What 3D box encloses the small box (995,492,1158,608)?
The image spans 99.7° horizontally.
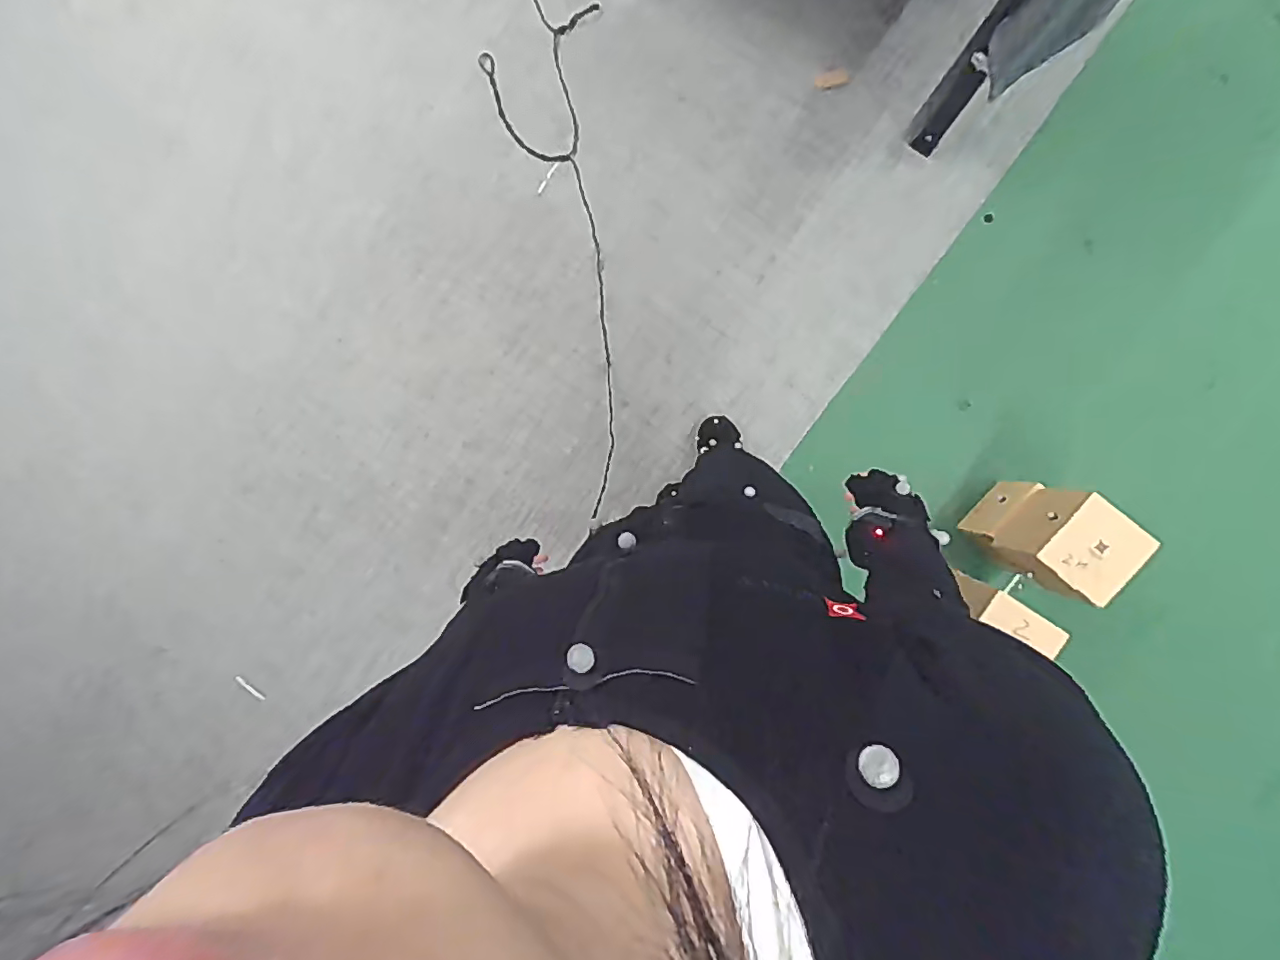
[{"bbox_3d":[0.916,0.138,1.156,0.168,0.176,0.179,40,94,3],"label":"small box"}]

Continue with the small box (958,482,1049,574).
[{"bbox_3d":[0.929,0.122,1.321,0.179,0.176,0.168,41,94,3],"label":"small box"}]
